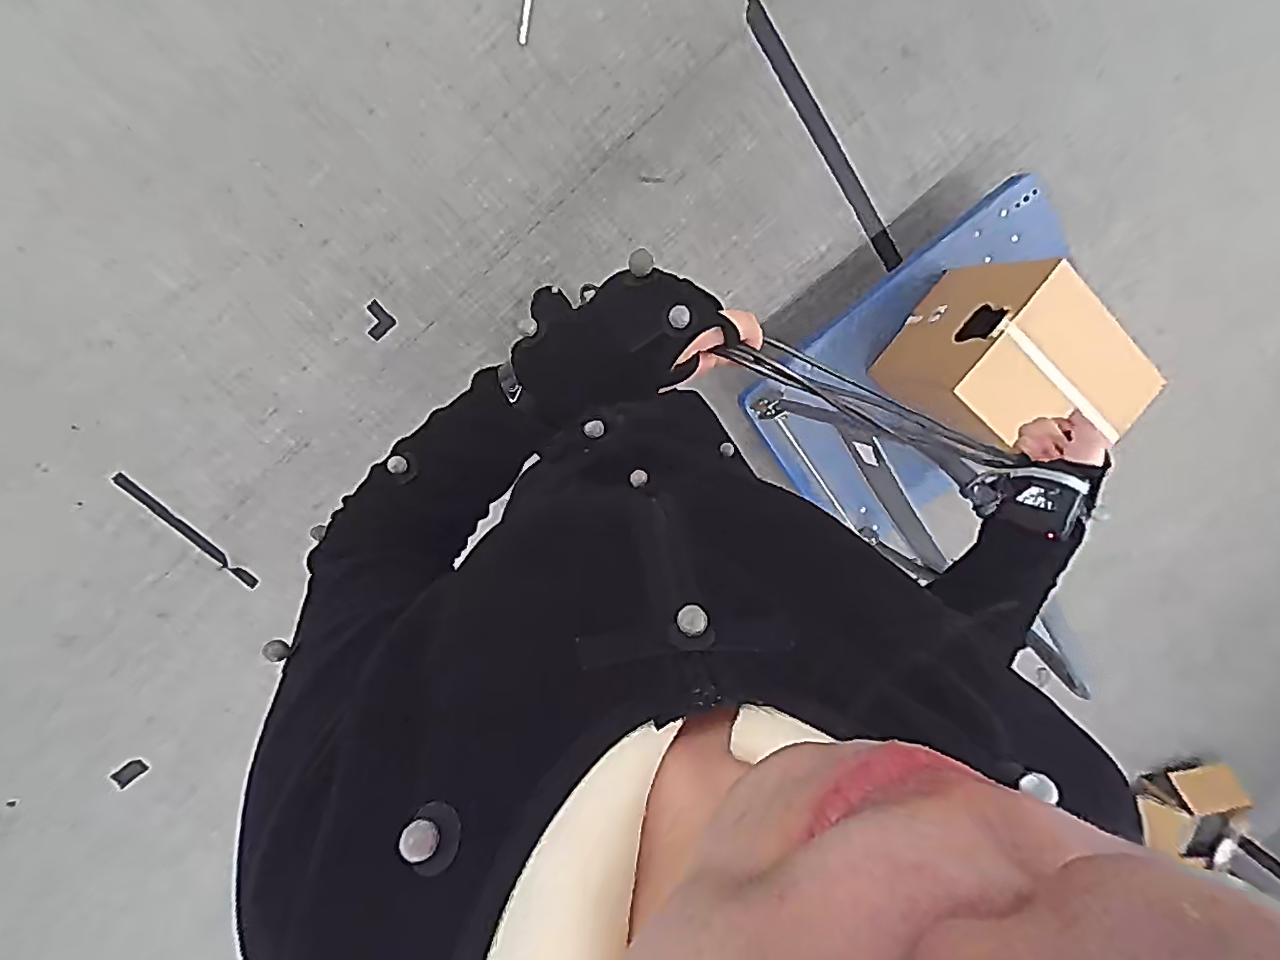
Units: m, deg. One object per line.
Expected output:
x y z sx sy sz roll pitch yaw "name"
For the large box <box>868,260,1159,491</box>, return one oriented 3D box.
0.826 -0.240 1.239 0.408 0.320 0.320 34 99 -19 "large box"
